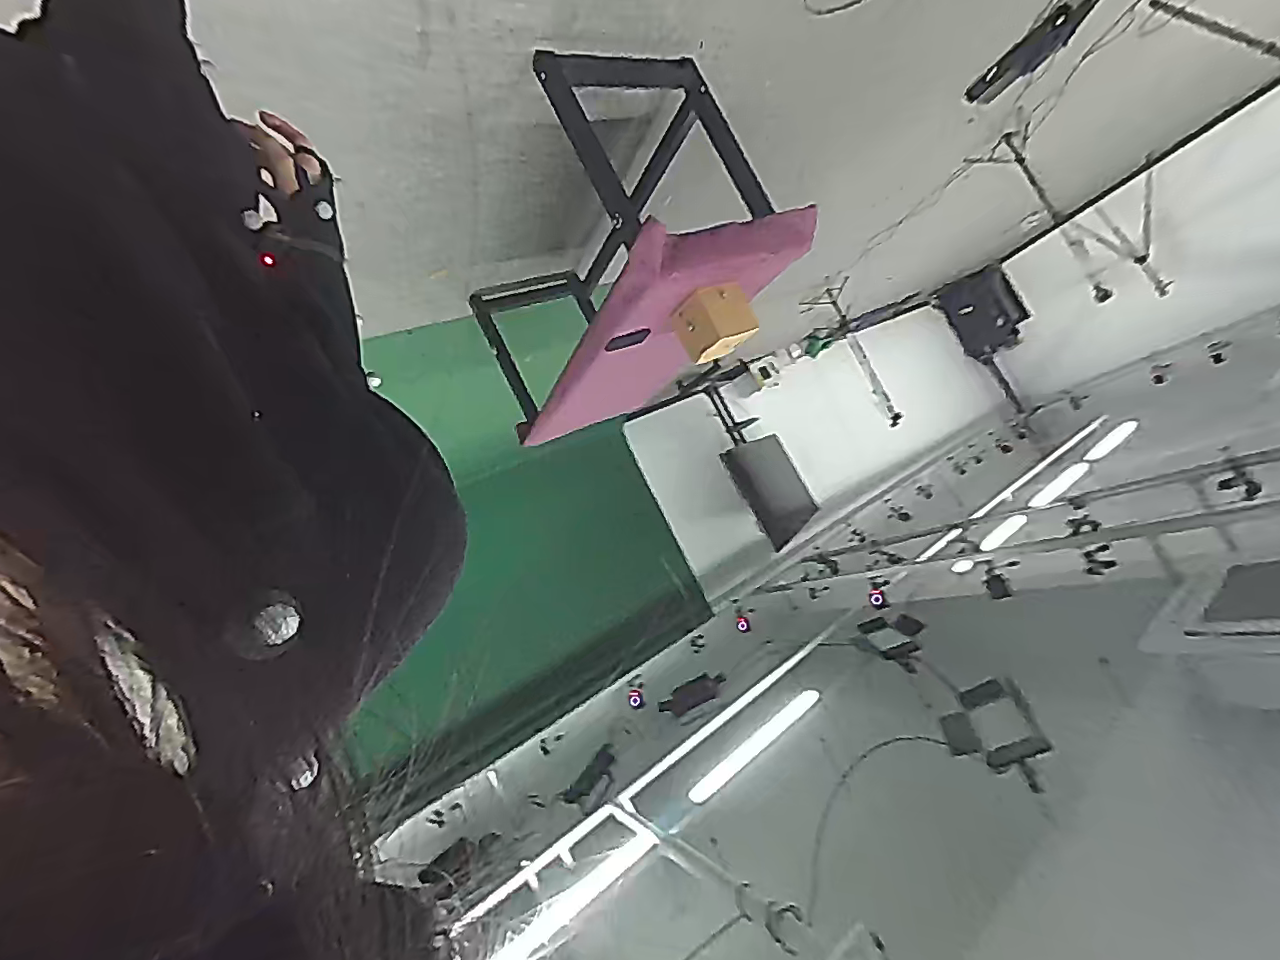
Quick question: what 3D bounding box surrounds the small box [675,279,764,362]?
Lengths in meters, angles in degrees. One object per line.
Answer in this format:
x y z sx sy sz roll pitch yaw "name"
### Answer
0.238 -0.492 1.663 0.179 0.176 0.168 -23 174 -31 "small box"
